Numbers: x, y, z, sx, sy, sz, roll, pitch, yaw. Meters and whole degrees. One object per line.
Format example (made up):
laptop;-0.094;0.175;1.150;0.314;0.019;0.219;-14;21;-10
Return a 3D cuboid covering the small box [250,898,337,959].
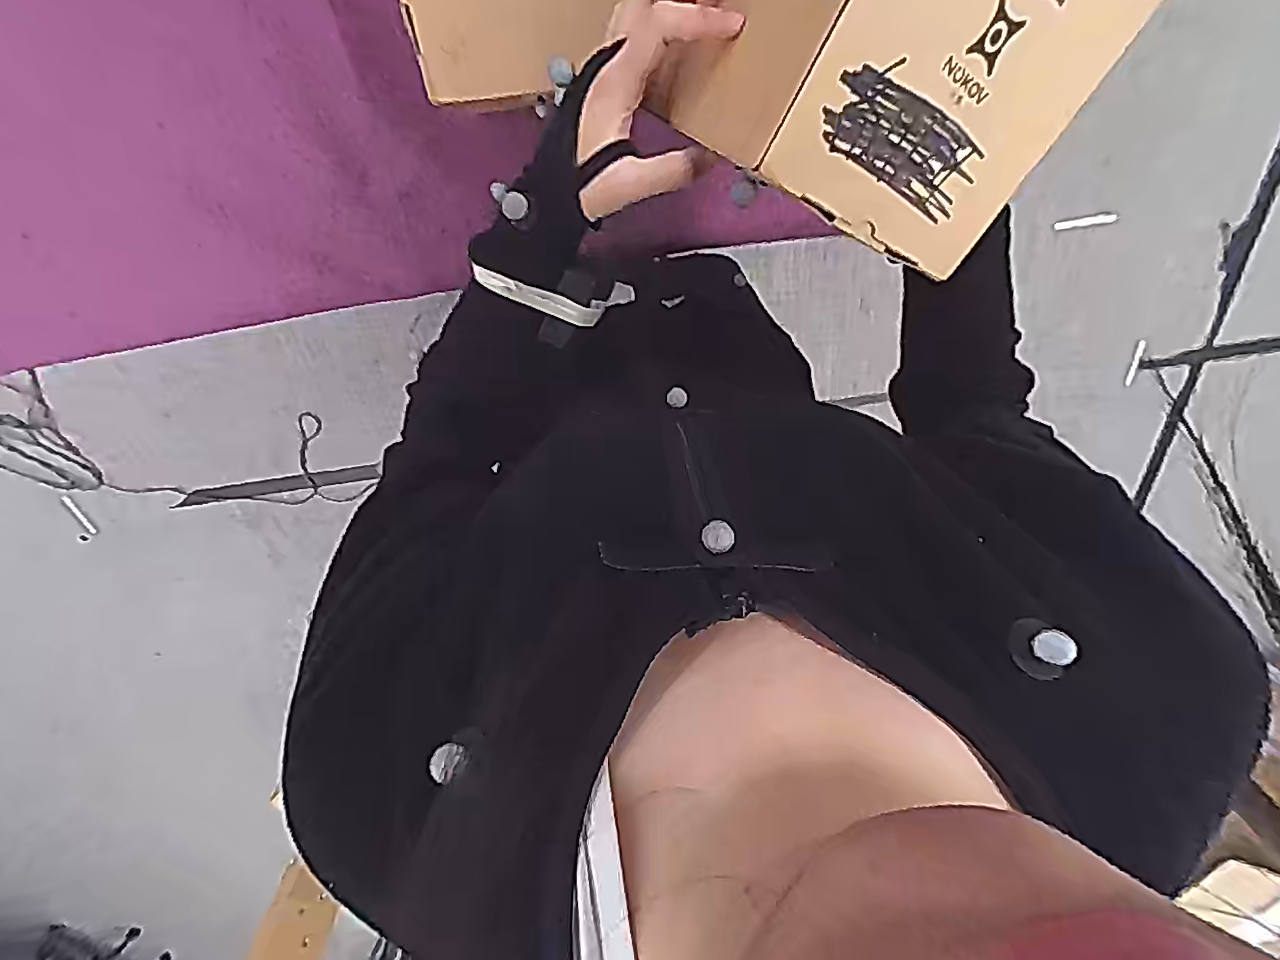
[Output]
small box;-1.042;1.389;1.617;0.168;0.176;0.179;35;114;-23

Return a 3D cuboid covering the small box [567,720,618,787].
small box;-0.199;1.141;2.262;0.168;0.176;0.179;-18;121;4

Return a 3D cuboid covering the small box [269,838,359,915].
small box;-1.051;1.307;1.757;0.168;0.176;0.179;35;114;-23

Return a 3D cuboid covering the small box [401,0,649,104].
small box;-0.091;-0.413;0.436;0.179;0.176;0.168;-8;123;0
